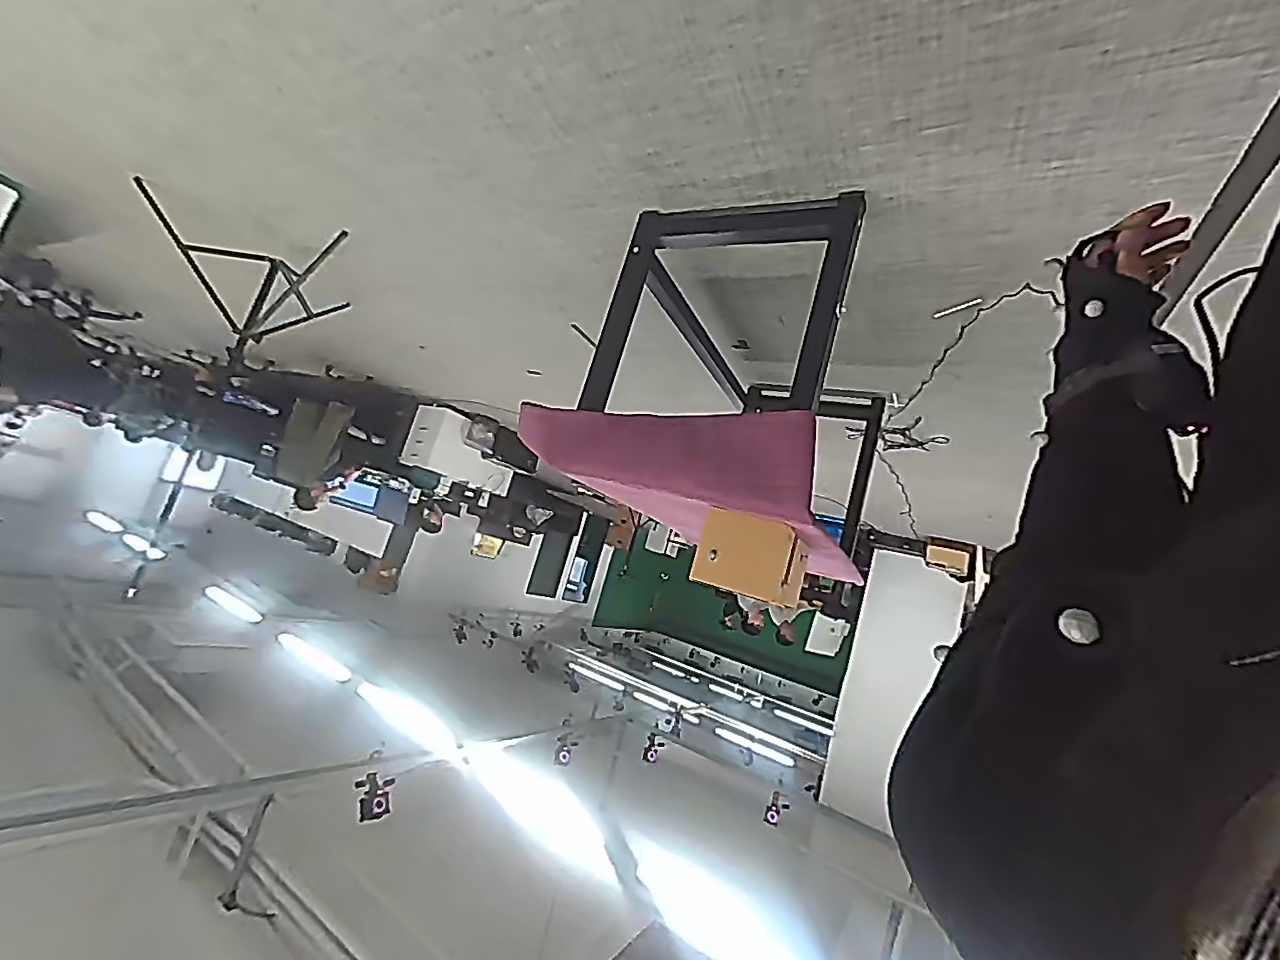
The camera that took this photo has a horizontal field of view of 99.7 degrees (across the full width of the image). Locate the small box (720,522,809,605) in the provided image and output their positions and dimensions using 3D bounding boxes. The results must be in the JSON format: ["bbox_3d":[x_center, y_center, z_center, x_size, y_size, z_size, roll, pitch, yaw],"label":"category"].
[{"bbox_3d":[0.321,0.212,1.383,0.168,0.176,0.179,11,169,30],"label":"small box"}]
